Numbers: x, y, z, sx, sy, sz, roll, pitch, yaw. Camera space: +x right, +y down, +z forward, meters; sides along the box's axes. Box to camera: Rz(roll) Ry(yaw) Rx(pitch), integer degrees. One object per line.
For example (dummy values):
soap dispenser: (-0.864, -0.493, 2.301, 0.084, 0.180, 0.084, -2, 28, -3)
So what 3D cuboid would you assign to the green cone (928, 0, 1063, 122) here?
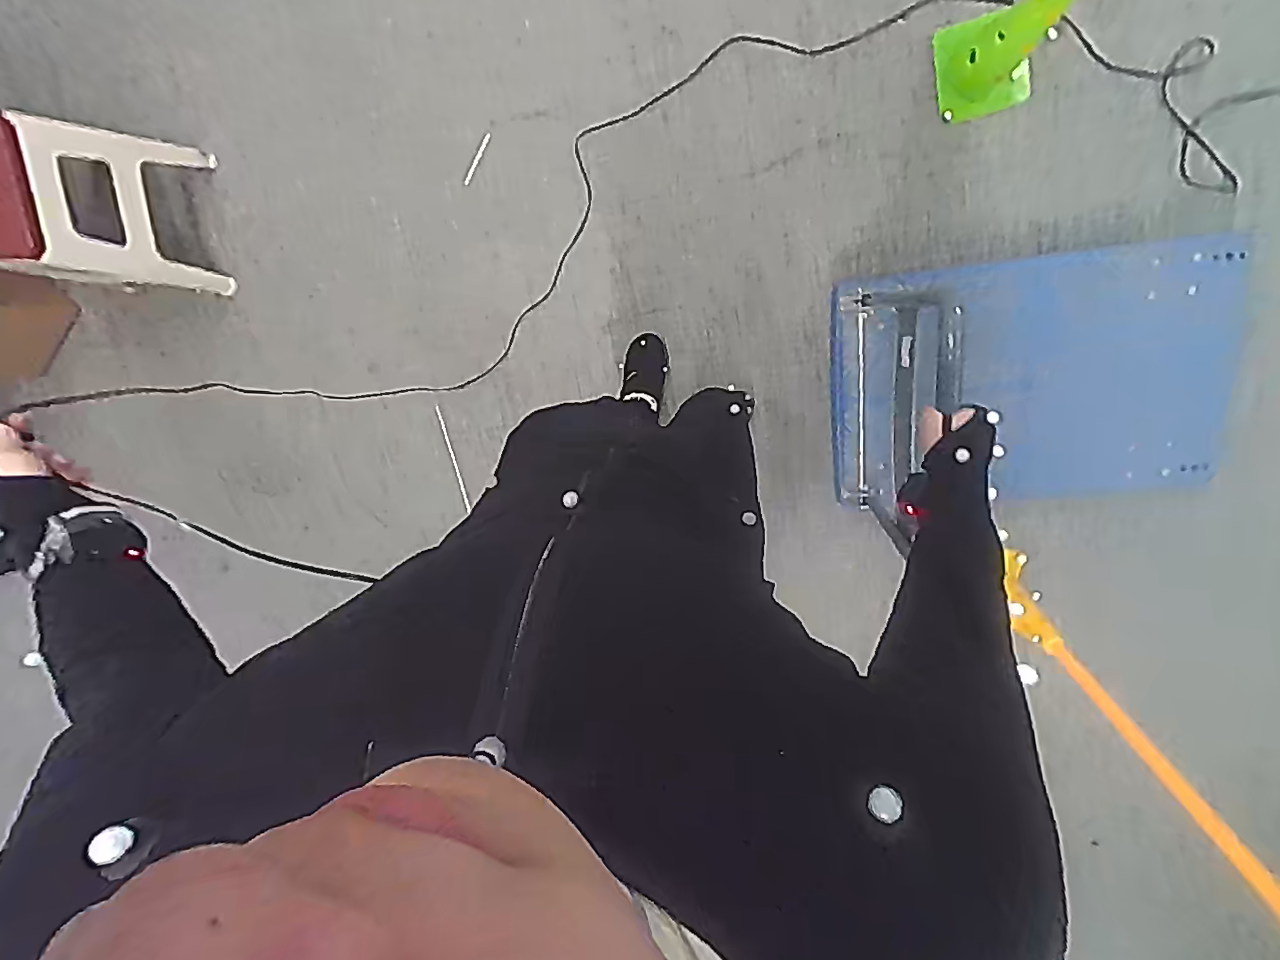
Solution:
green cone: (0.768, -0.922, 1.093, 0.200, 0.368, 0.202, -13, 103, 10)
